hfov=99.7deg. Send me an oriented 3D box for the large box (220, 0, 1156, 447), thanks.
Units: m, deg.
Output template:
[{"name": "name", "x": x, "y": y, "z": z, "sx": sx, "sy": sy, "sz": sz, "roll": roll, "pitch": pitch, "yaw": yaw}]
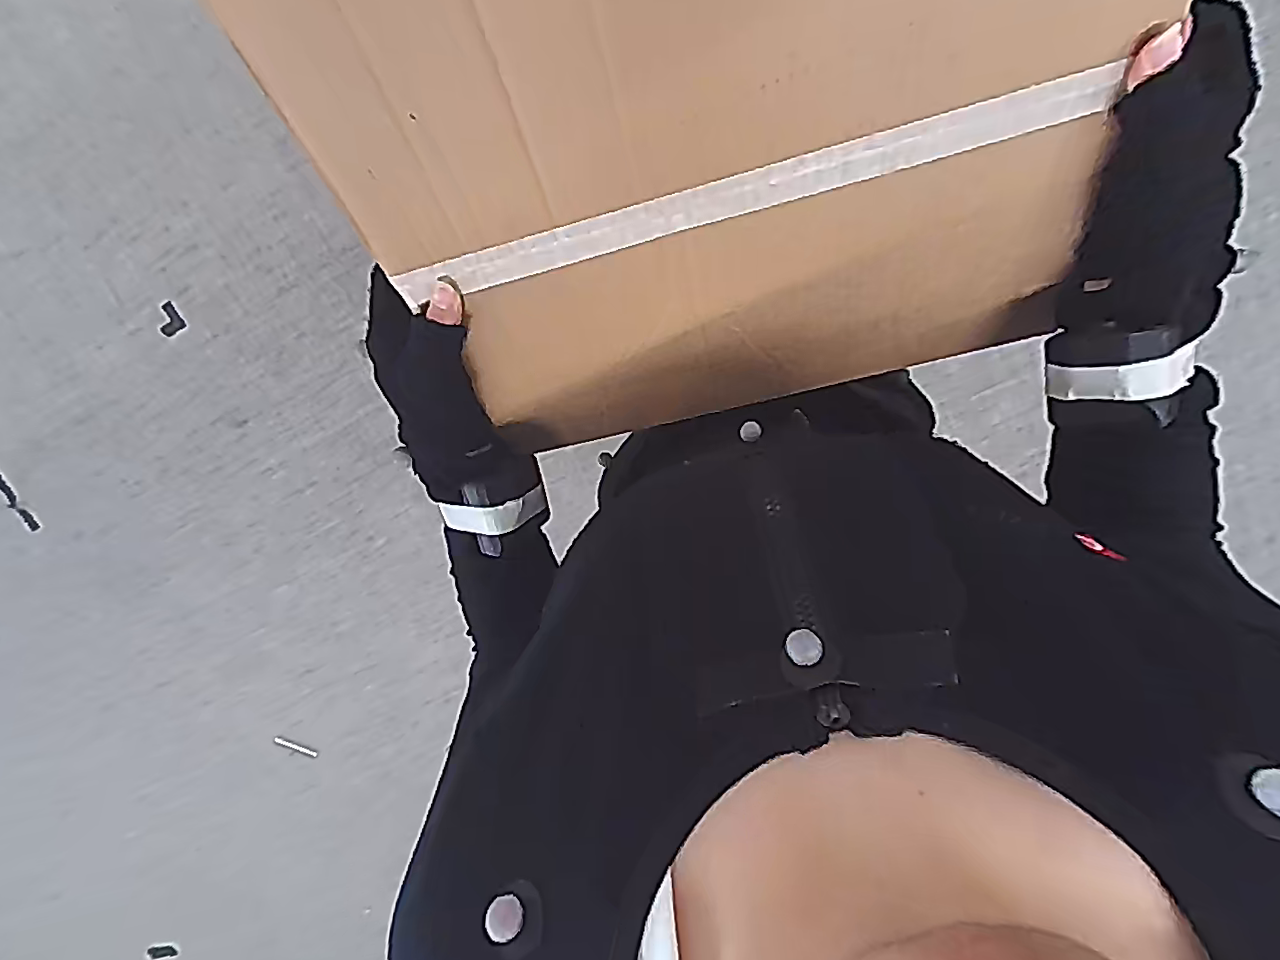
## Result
[{"name": "large box", "x": 0.041, "y": -0.276, "z": 0.394, "sx": 0.408, "sy": 0.320, "sz": 0.320, "roll": -13, "pitch": 140, "yaw": 8}]
